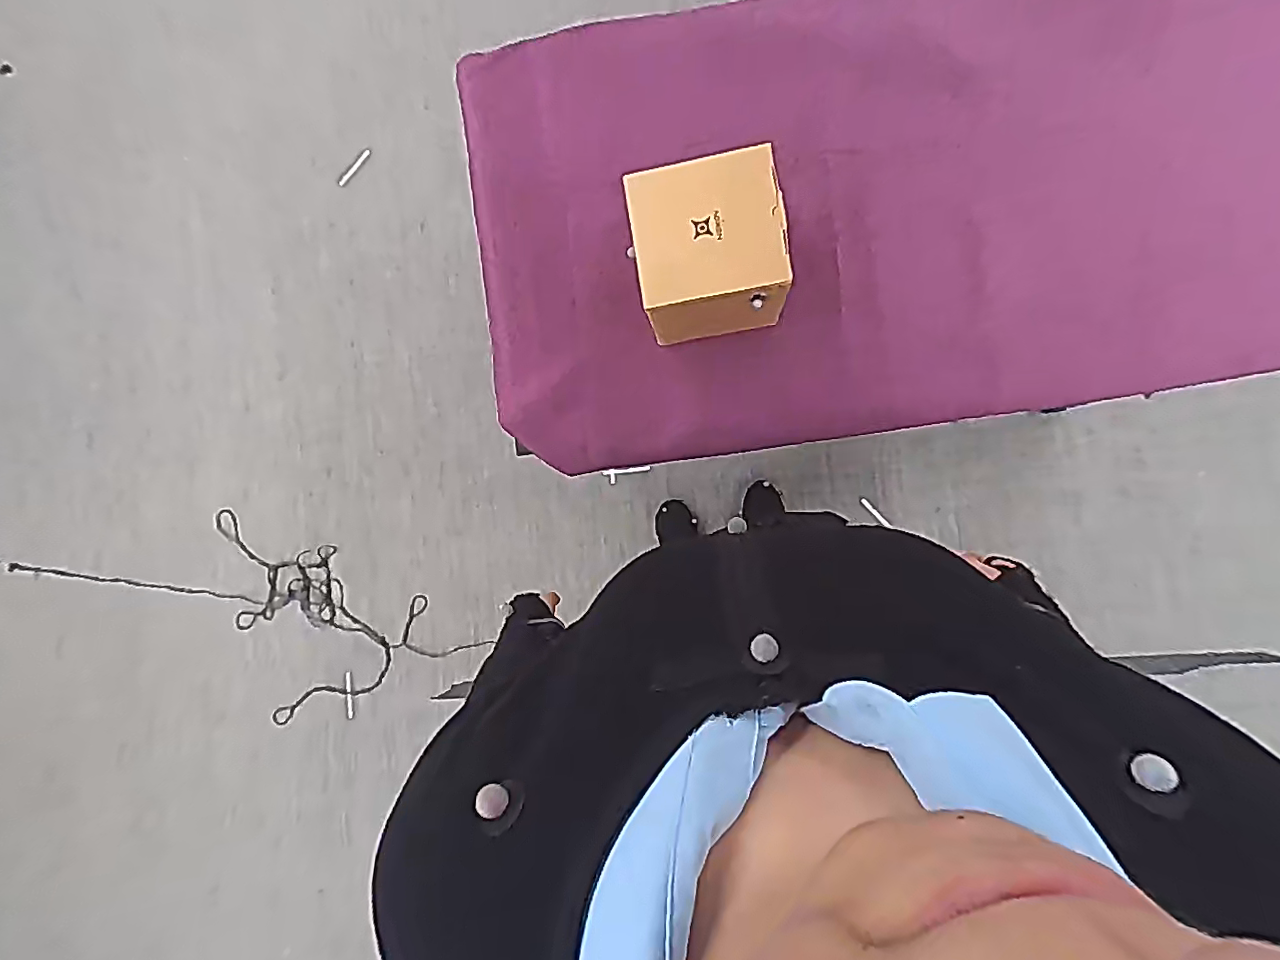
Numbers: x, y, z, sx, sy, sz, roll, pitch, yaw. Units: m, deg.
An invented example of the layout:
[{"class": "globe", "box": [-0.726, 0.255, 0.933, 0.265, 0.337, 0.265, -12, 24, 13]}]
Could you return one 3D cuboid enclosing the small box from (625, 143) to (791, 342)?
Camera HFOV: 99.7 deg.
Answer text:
[{"class": "small box", "box": [0.088, -0.294, 0.710, 0.179, 0.176, 0.168, -9, 88, 7]}]
